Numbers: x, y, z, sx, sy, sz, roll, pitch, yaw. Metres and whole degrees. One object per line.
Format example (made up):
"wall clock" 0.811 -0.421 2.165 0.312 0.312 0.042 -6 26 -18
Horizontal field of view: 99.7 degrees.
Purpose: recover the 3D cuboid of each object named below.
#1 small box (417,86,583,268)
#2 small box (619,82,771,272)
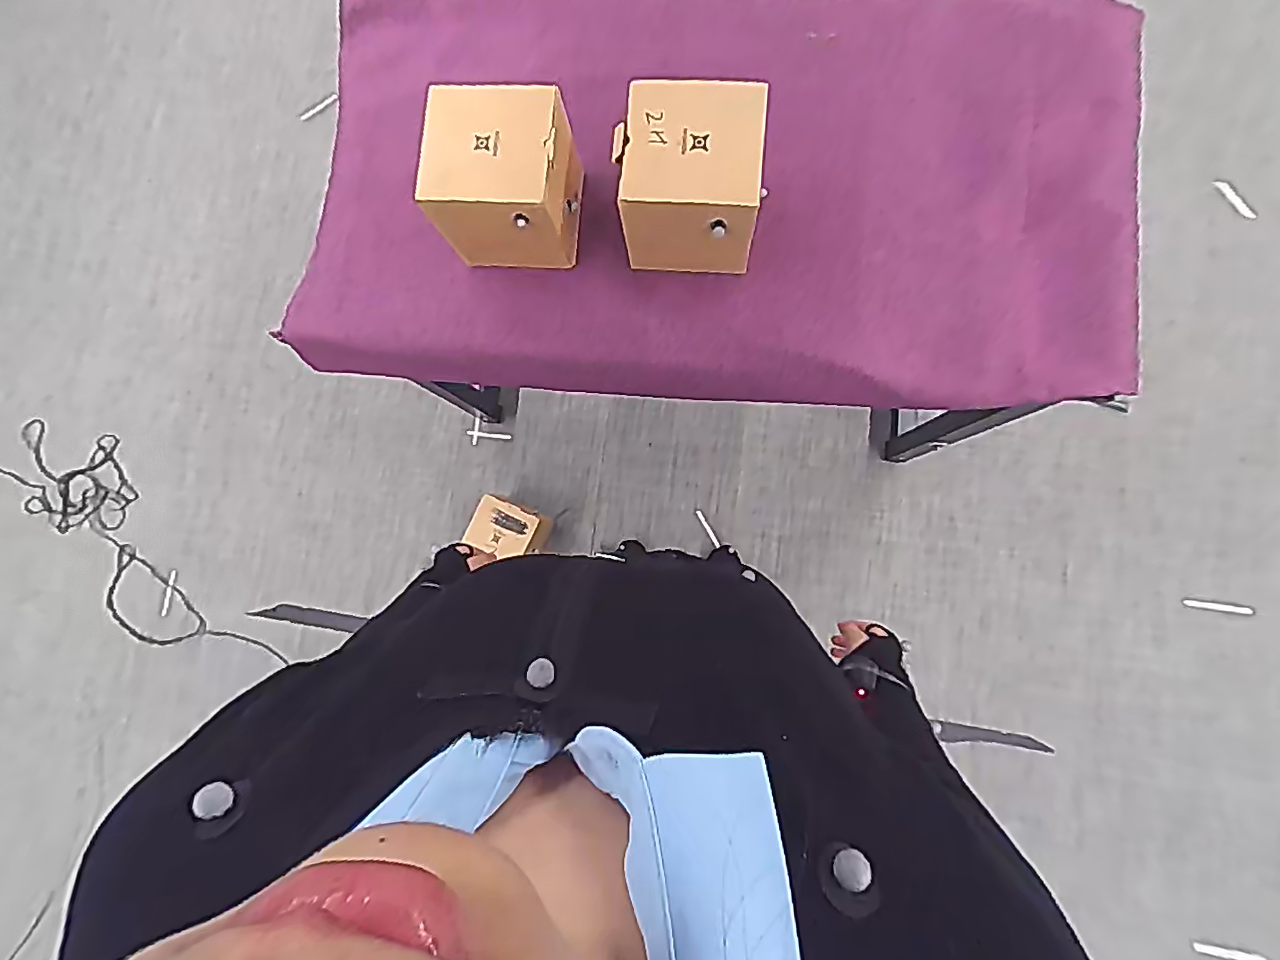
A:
"small box" -0.190 -0.423 0.776 0.179 0.176 0.168 4 84 5
"small box" 0.075 -0.405 0.747 0.179 0.176 0.168 5 83 6
